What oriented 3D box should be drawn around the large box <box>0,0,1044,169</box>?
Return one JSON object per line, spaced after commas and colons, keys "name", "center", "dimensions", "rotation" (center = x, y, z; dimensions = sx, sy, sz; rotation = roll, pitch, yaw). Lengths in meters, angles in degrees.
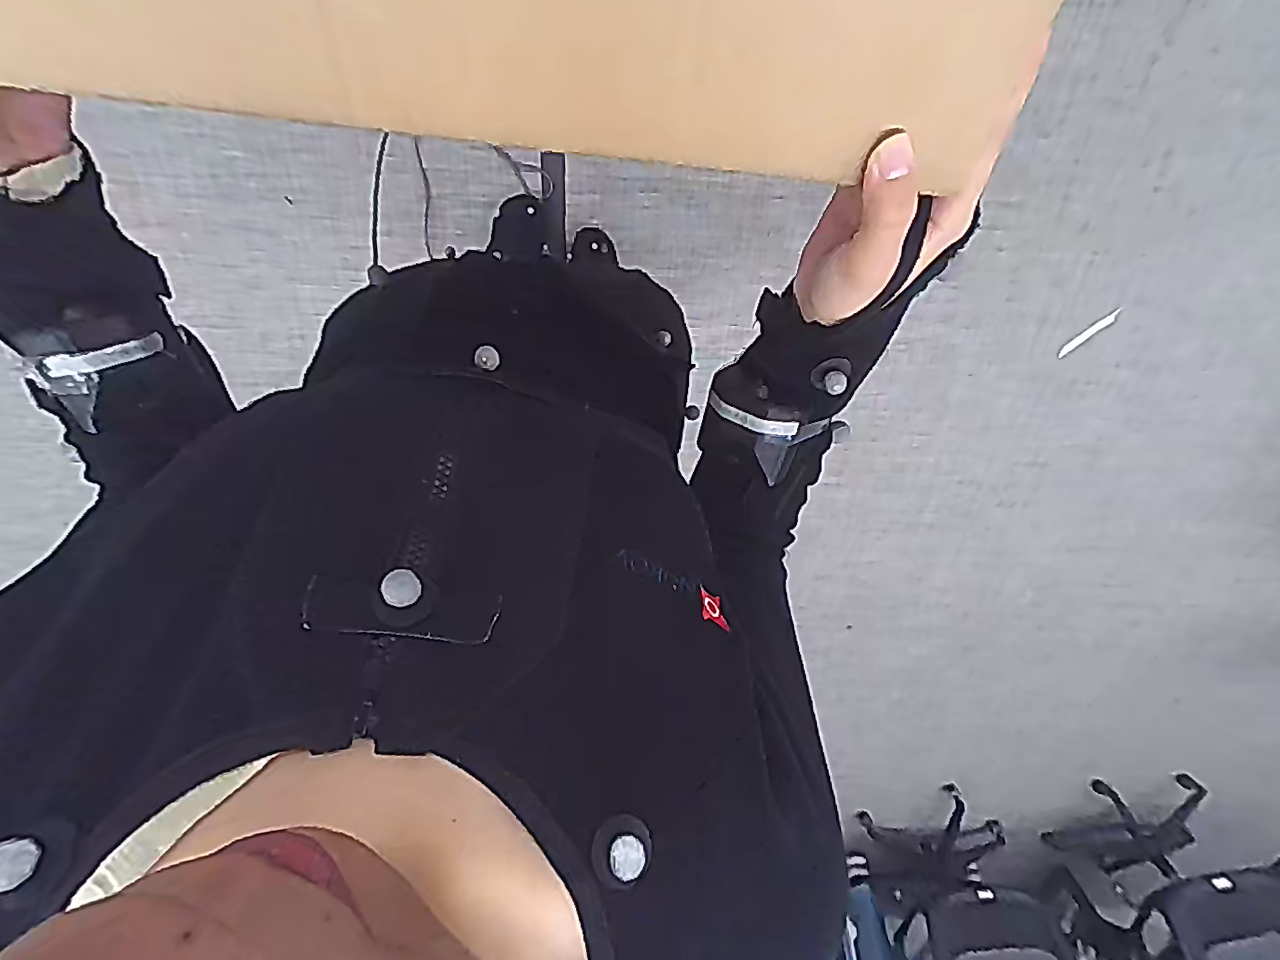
{"name": "large box", "center": [-0.051, -0.351, 0.198], "dimensions": [0.408, 0.320, 0.320], "rotation": [3, 140, -4]}
